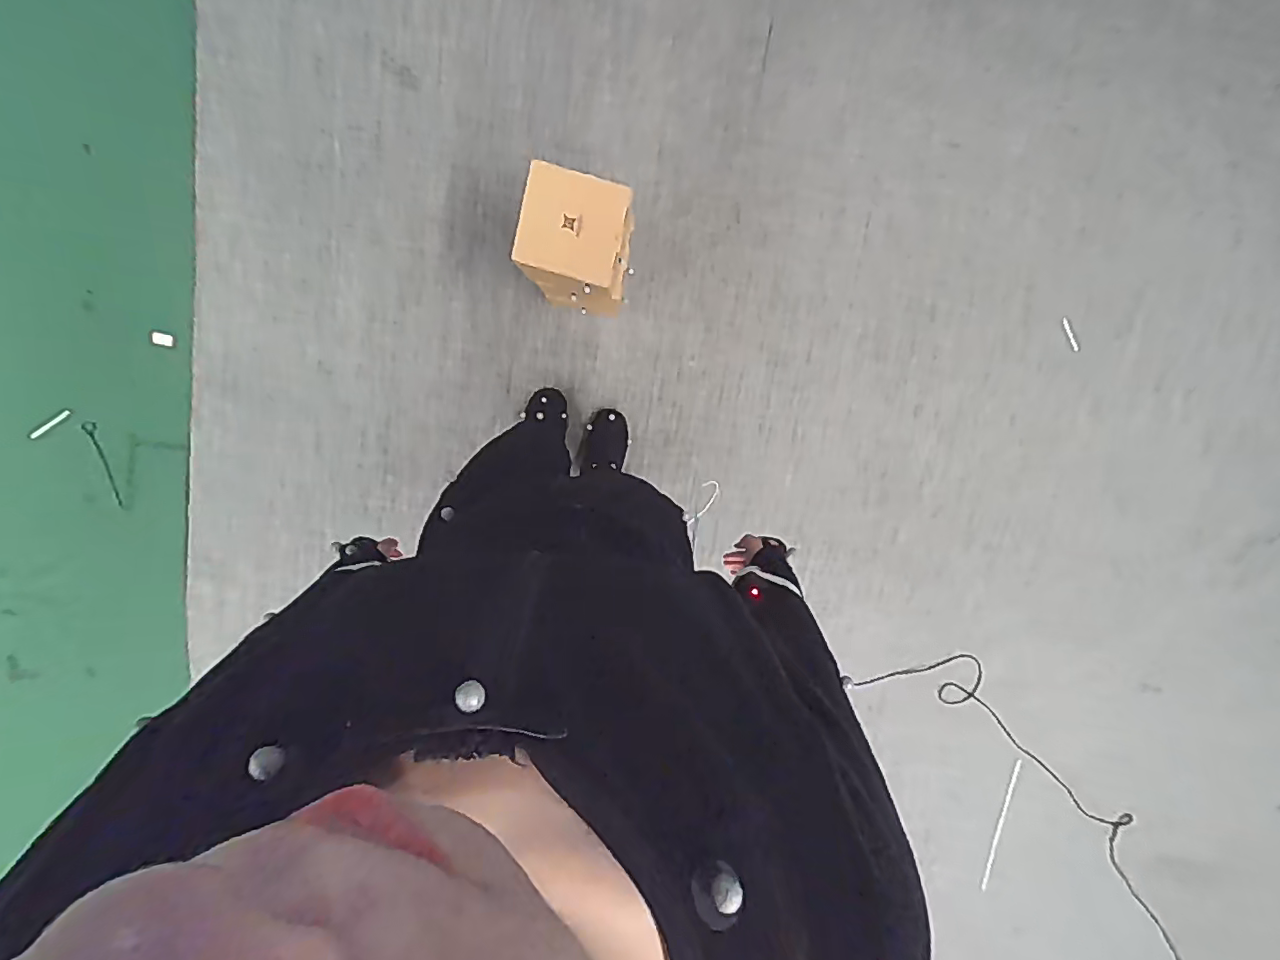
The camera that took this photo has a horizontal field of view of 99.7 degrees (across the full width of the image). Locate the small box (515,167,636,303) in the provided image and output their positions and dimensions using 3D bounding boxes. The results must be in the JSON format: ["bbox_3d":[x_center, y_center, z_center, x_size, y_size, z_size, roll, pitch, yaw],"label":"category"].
[{"bbox_3d":[-0.114,-0.439,0.998,0.179,0.176,0.168,14,99,-5],"label":"small box"}]

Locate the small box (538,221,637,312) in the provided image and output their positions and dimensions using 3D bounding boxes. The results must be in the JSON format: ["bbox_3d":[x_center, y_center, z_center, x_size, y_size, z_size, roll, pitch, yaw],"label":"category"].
[{"bbox_3d":[-0.108,-0.465,1.159,0.179,0.176,0.168,11,100,-4],"label":"small box"}]
